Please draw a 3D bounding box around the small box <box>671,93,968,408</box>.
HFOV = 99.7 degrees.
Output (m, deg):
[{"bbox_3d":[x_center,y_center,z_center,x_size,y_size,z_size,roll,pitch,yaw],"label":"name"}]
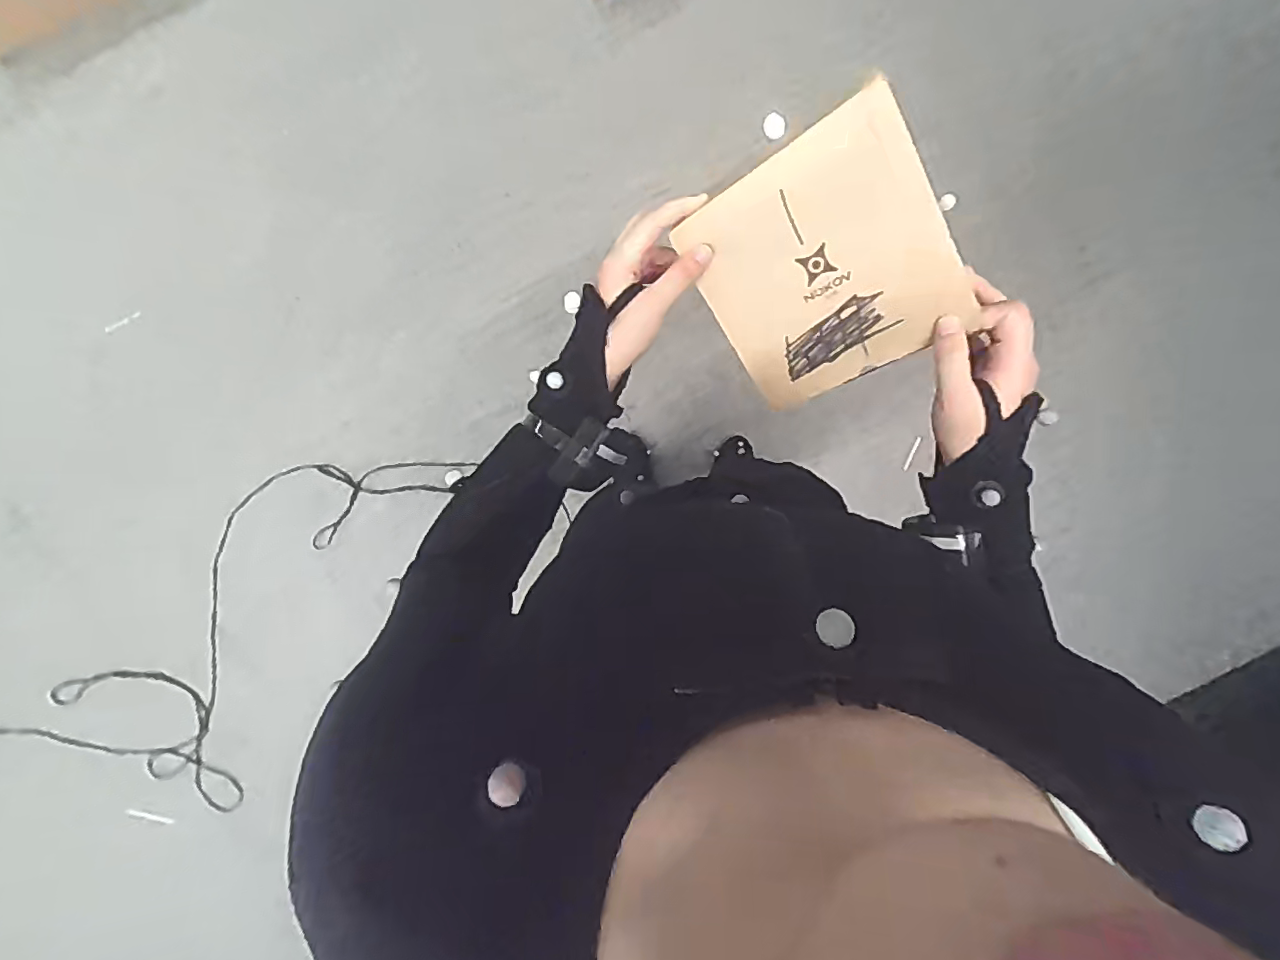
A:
[{"bbox_3d":[0.154,-0.198,0.469,0.168,0.176,0.179,-24,114,30],"label":"small box"}]
